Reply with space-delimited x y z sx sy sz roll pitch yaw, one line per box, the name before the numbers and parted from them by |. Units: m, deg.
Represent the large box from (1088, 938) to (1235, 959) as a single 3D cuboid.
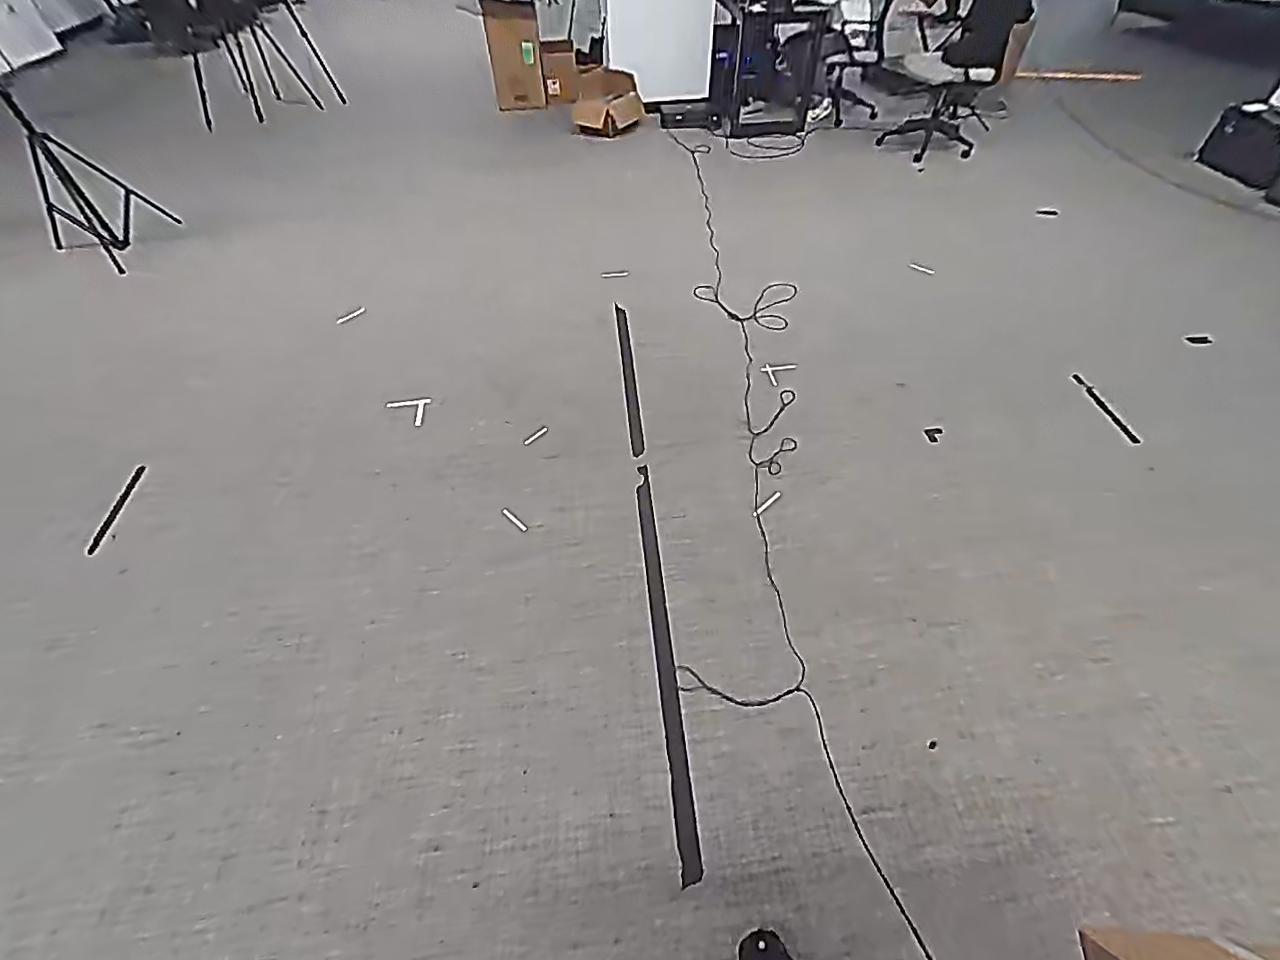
large box | 0.697 0.690 0.471 0.320 0.408 0.320 -2 67 15
